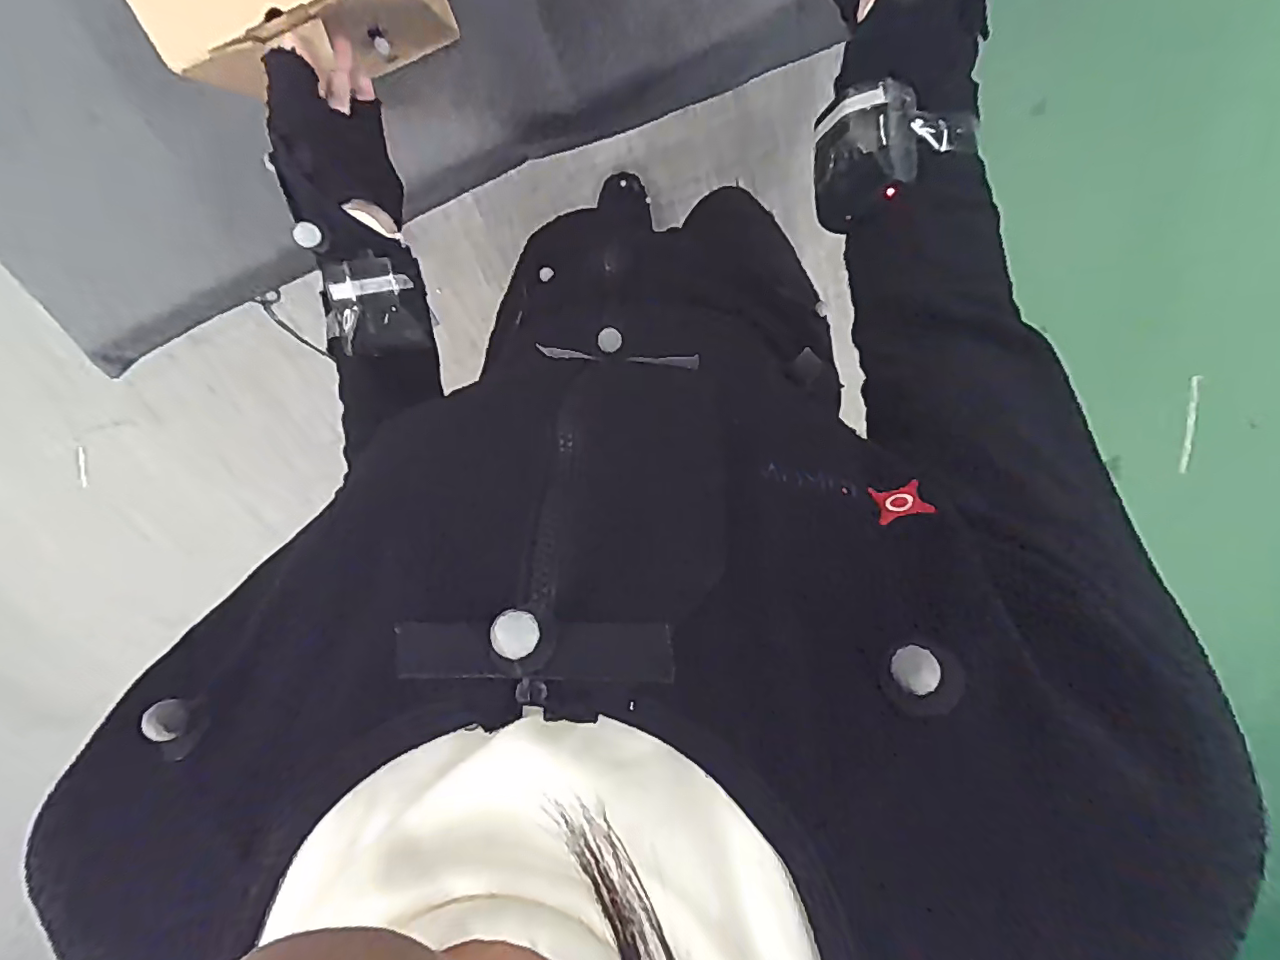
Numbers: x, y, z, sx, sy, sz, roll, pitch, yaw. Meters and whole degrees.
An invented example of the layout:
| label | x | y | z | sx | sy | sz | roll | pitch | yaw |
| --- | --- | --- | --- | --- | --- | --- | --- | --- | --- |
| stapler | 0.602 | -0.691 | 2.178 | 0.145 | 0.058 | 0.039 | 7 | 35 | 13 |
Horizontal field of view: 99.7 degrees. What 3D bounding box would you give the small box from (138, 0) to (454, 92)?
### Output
| label | x | y | z | sx | sy | sz | roll | pitch | yaw |
| --- | --- | --- | --- | --- | --- | --- | --- | --- | --- |
| small box | -0.260 | -0.408 | 0.384 | 0.168 | 0.176 | 0.179 | -19 | 115 | 7 |
